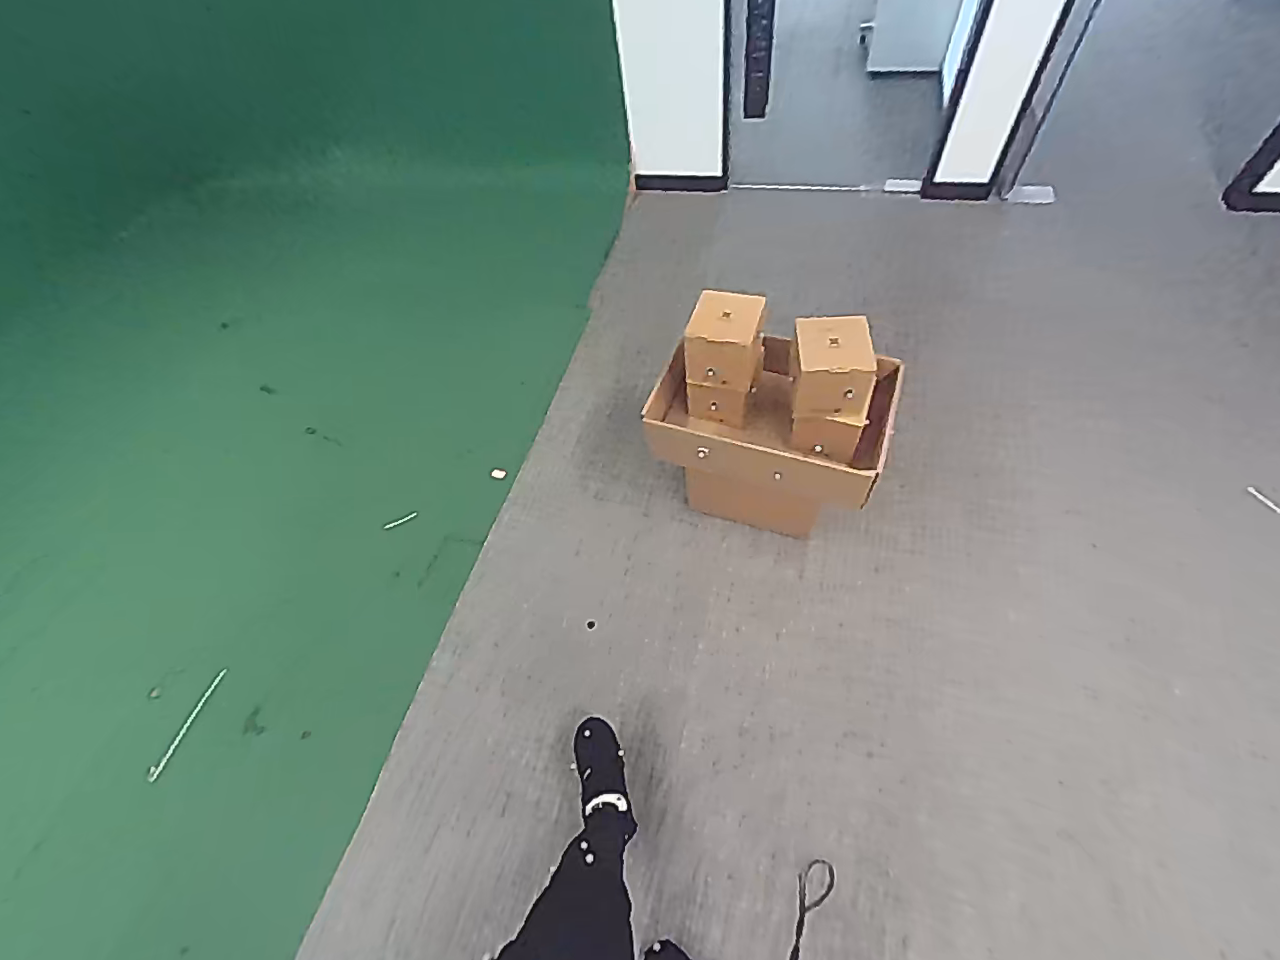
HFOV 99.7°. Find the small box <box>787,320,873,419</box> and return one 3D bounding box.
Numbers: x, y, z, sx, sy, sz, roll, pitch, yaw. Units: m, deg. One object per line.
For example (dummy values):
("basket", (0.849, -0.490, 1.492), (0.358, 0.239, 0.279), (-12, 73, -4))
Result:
("small box", (0.453, -0.263, 1.314), (0.168, 0.176, 0.179), (0, 56, 8))

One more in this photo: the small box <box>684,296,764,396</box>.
("small box", (0.217, -0.348, 1.408), (0.168, 0.176, 0.179), (13, 59, 16))
